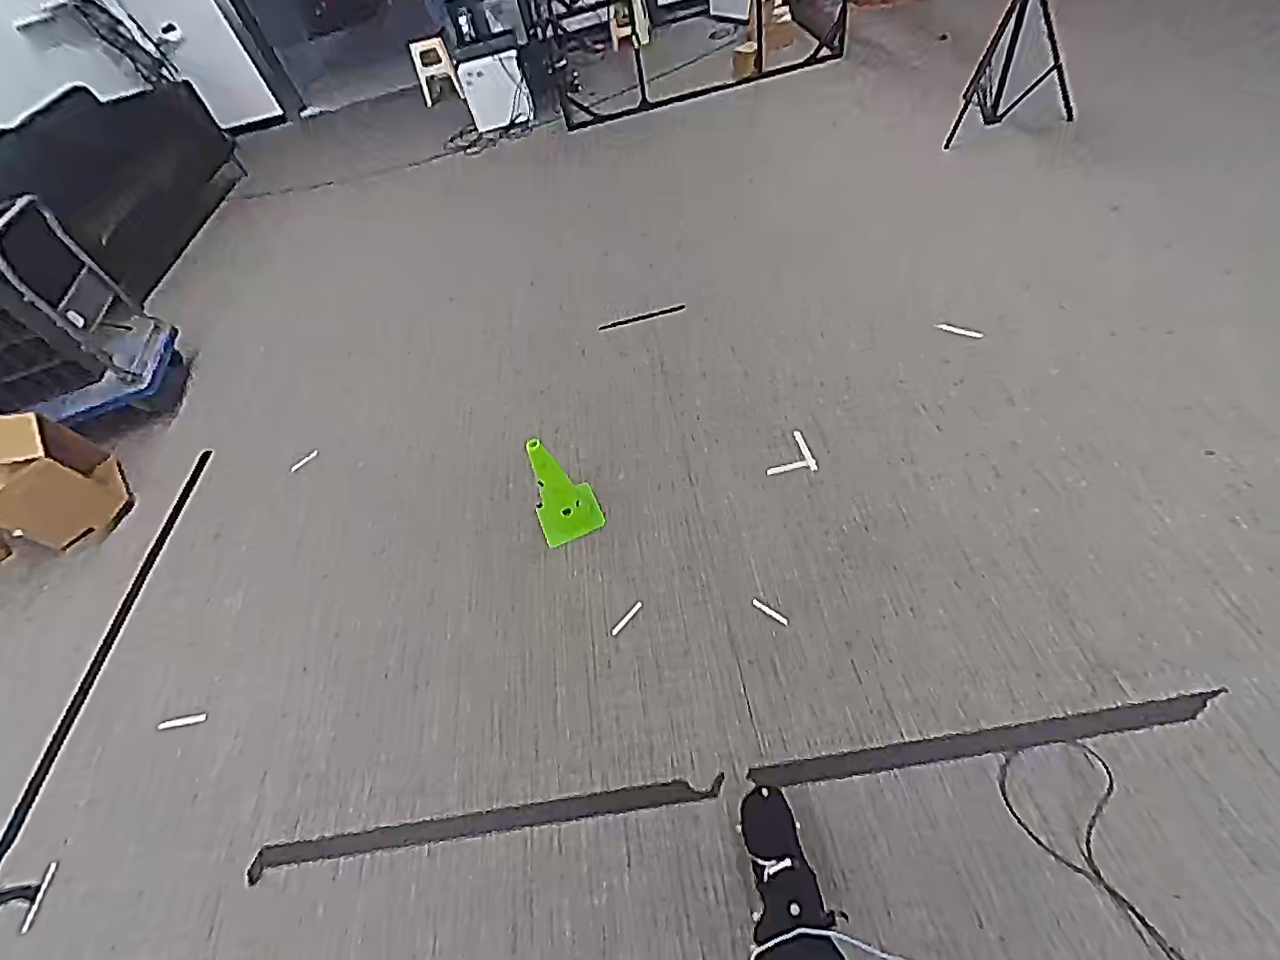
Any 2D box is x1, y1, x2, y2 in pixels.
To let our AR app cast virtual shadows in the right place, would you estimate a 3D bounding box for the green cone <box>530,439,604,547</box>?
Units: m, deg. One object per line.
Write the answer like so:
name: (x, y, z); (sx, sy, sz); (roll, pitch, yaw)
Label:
green cone: (-0.265, 0.012, 1.659); (0.202, 0.368, 0.200); (-24, 51, -7)
